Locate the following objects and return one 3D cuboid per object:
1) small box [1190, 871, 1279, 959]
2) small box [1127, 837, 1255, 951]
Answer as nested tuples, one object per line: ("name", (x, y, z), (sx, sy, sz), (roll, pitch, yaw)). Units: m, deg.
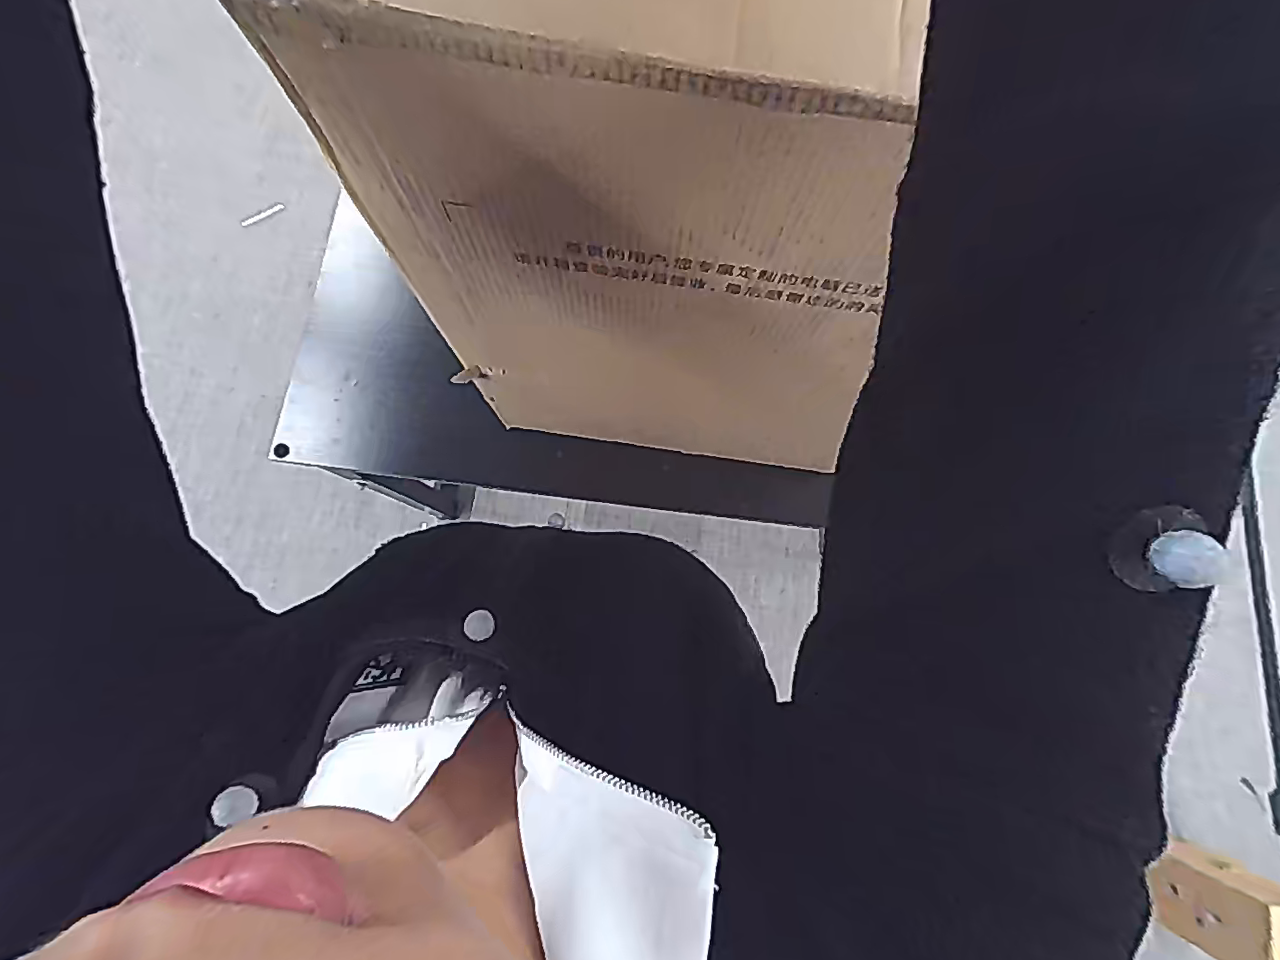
("small box", (1.353, 0.978, 1.162), (0.179, 0.176, 0.168), (8, 78, 0))
("small box", (1.347, 1.007, 1.324), (0.168, 0.176, 0.179), (4, 79, -1))
